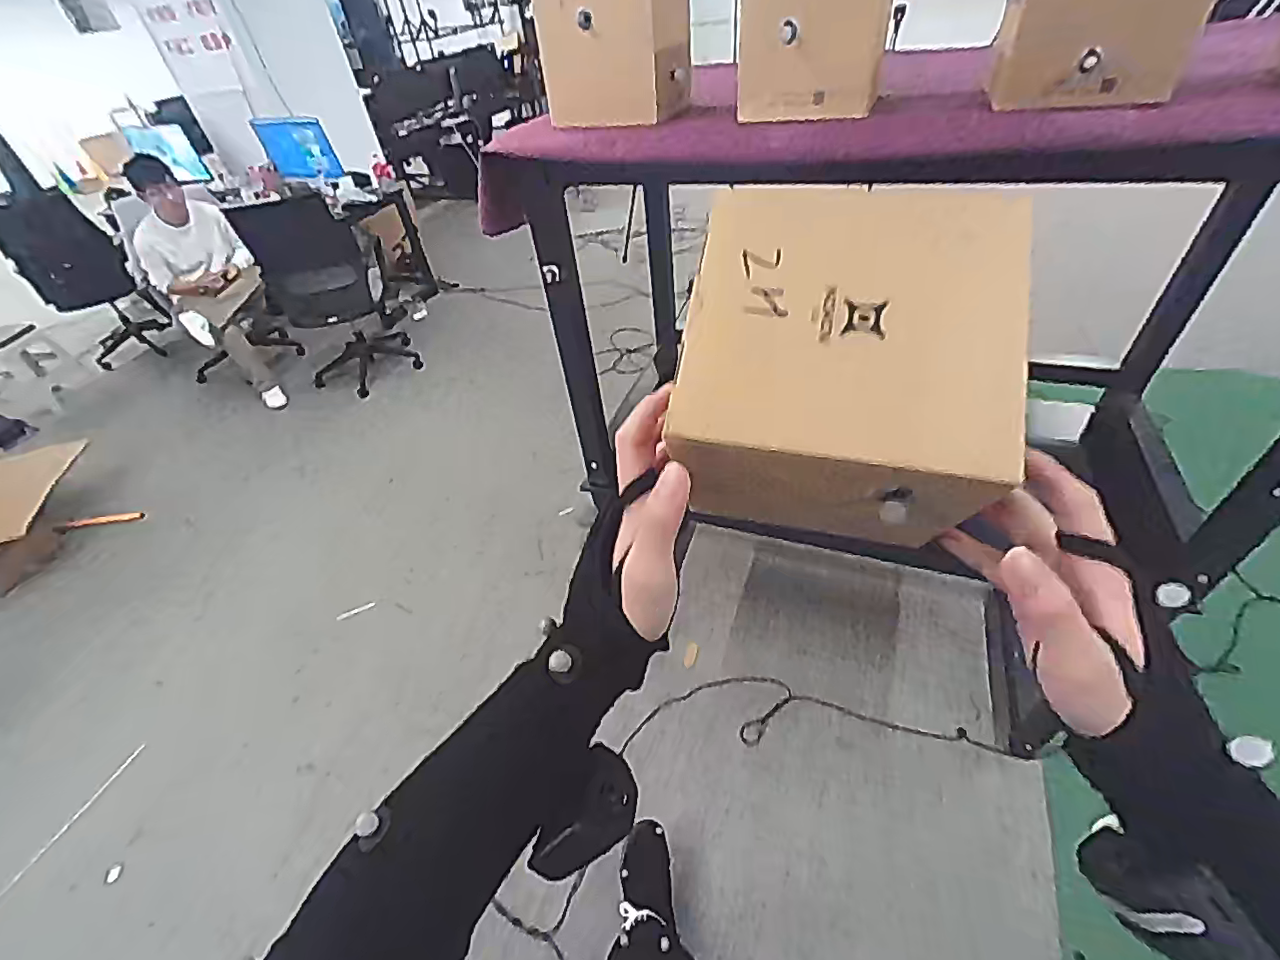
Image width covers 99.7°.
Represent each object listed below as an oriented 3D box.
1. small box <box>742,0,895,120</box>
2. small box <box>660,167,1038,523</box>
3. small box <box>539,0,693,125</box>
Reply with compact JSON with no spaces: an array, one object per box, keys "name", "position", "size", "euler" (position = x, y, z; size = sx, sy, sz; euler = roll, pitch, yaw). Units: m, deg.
[{"name":"small box","position":[0.232,-0.577,0.698],"size":[0.168,0.176,0.179],"euler":[11,45,20]},{"name":"small box","position":[0.126,-0.074,0.364],"size":[0.179,0.176,0.168],"euler":[9,75,15]},{"name":"small box","position":[-0.028,-0.634,0.794],"size":[0.179,0.176,0.168],"euler":[12,46,19]}]
